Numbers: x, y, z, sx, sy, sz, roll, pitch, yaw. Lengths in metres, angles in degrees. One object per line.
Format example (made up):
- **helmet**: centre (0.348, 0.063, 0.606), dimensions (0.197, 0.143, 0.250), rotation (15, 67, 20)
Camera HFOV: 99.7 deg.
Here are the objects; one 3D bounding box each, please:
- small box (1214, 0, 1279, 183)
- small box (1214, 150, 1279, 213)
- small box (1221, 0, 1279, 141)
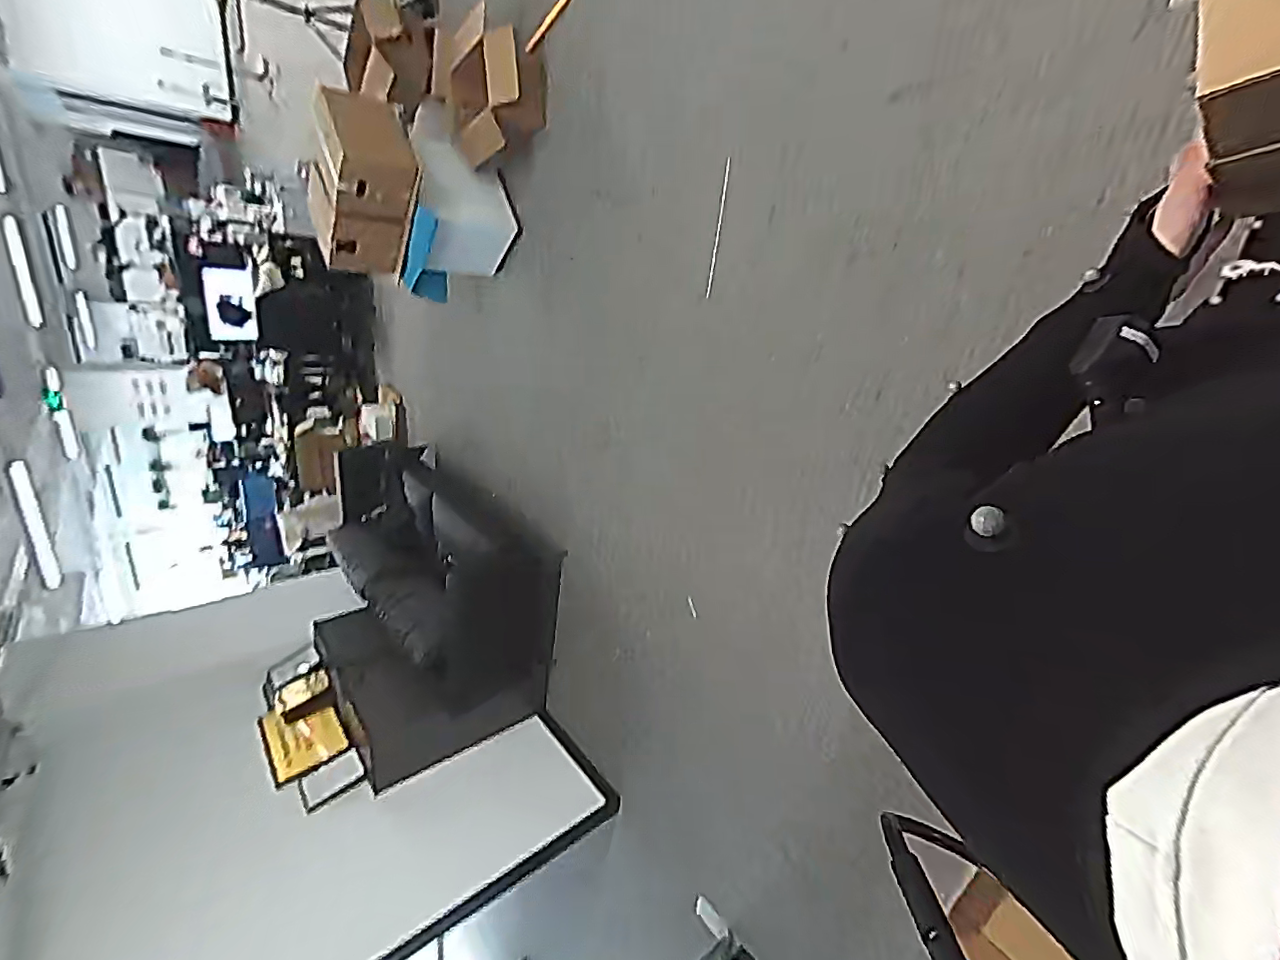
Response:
- **small box**: centre (0.500, -0.309, 0.341), dimensions (0.179, 0.176, 0.168), rotation (5, 106, 47)
- **small box**: centre (0.618, -0.339, 0.451), dimensions (0.179, 0.176, 0.168), rotation (7, 106, 46)
- **small box**: centre (0.382, -0.278, 0.230), dimensions (0.179, 0.176, 0.168), rotation (4, 105, 47)
